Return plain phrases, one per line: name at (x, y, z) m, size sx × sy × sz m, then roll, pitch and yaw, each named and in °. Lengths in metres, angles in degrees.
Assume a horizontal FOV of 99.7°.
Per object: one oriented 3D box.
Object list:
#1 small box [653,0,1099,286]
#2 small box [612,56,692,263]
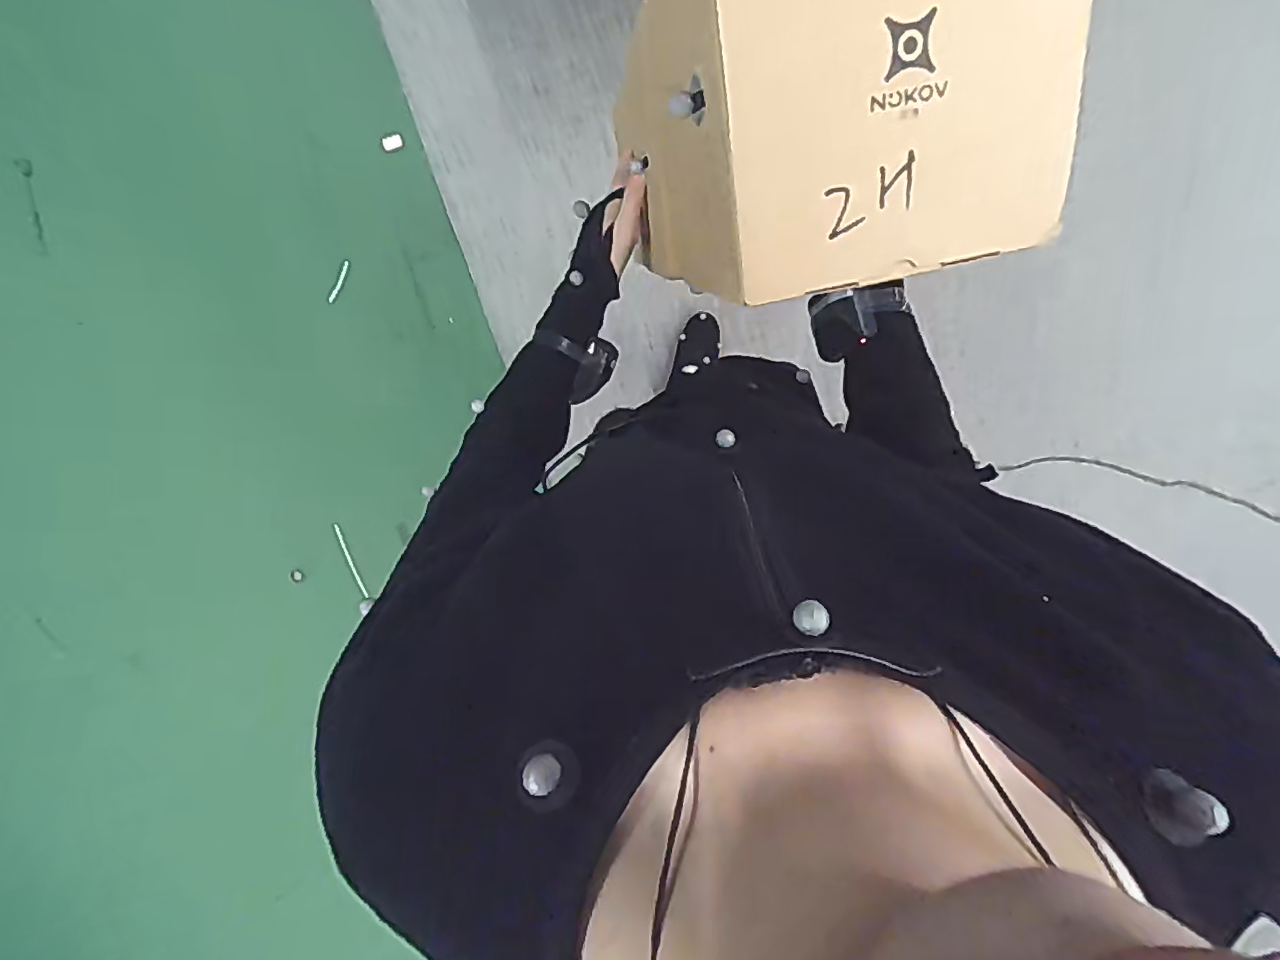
small box at (0.107, -0.218, 0.303) m, size 0.168 × 0.176 × 0.179 m, roll -12°, pitch 115°, yaw -1°
small box at (0.067, -0.352, 0.602) m, size 0.168 × 0.176 × 0.179 m, roll -12°, pitch 116°, yaw -2°
